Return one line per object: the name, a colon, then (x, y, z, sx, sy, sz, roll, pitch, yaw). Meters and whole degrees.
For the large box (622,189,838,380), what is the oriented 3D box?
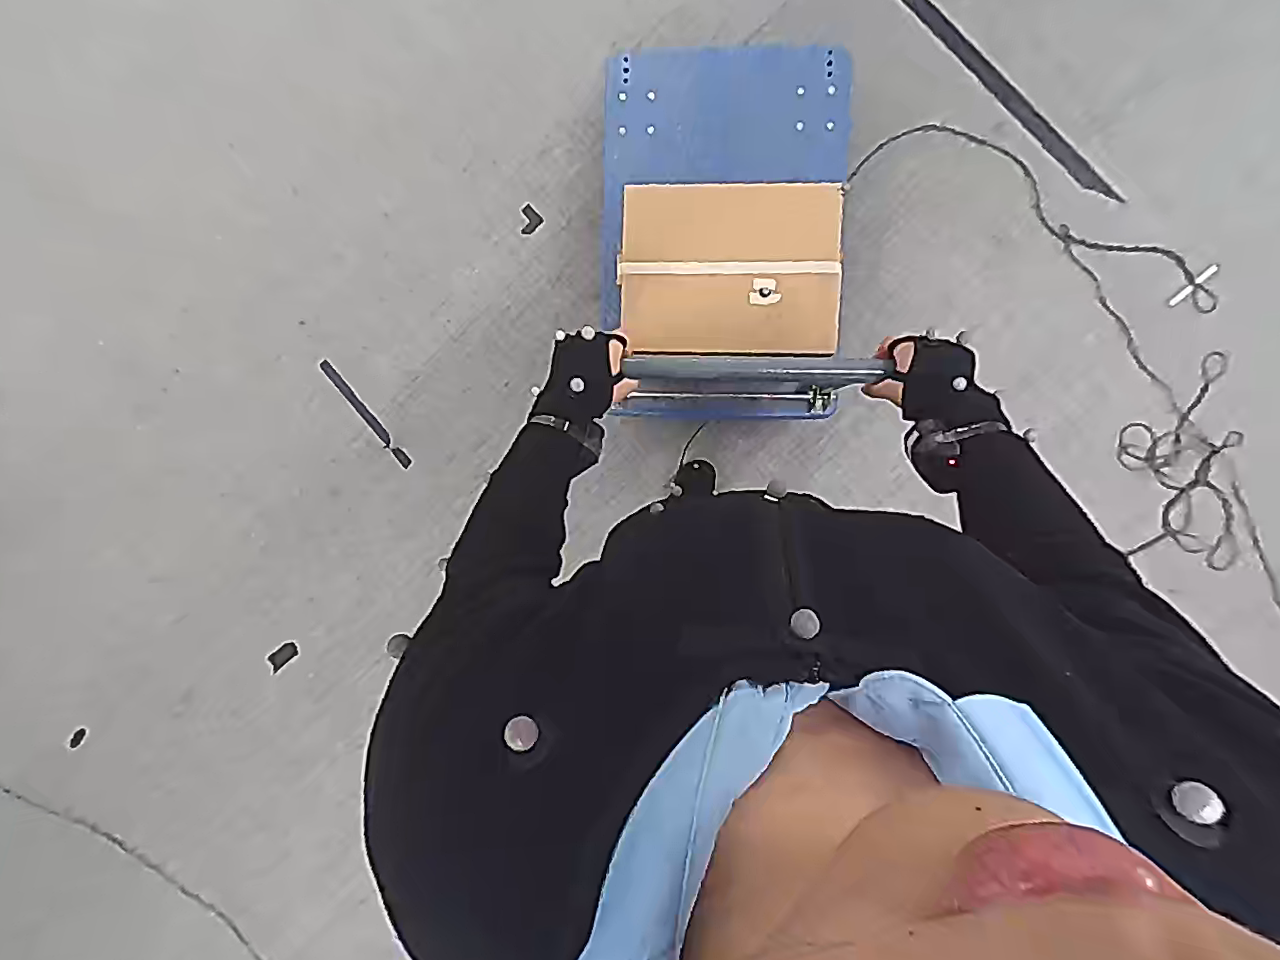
large box: (0.172, -0.391, 1.160, 0.408, 0.320, 0.320, 2, 93, 3)
